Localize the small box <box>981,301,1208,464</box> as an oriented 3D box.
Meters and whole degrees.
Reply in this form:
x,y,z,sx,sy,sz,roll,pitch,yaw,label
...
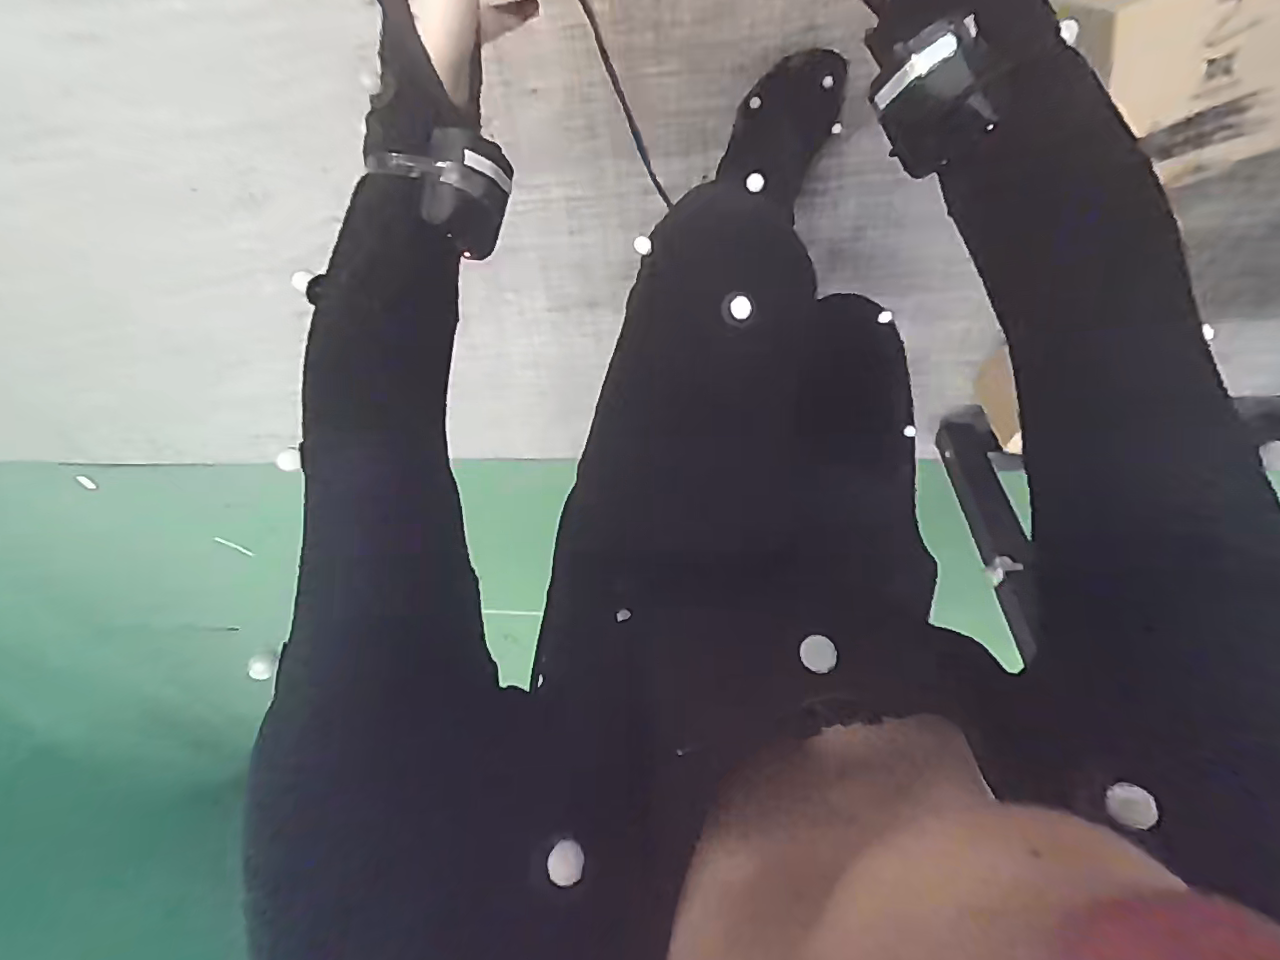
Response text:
x,y,z,sx,sy,sz,roll,pitch,yaw,label
0.637,-0.146,0.793,0.168,0.176,0.179,4,136,6,small box
